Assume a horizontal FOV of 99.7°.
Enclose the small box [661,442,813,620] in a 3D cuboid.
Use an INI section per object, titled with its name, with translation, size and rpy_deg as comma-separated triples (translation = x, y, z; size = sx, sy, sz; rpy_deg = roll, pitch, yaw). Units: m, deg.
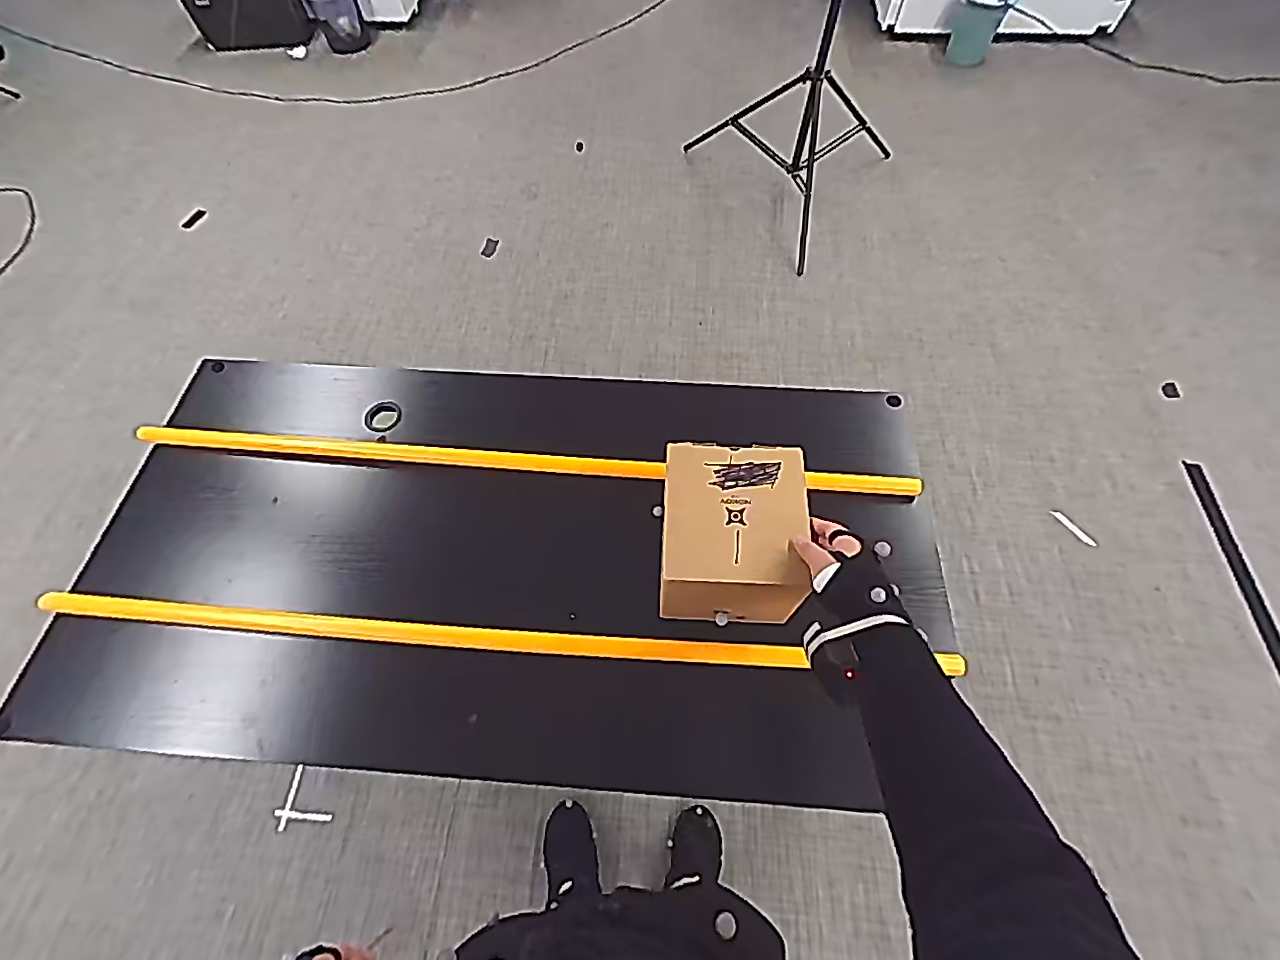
[small box]
translation = 0.113, 0.070, 0.697
size = 0.168, 0.176, 0.179
rpy_deg = 2, 62, 3
